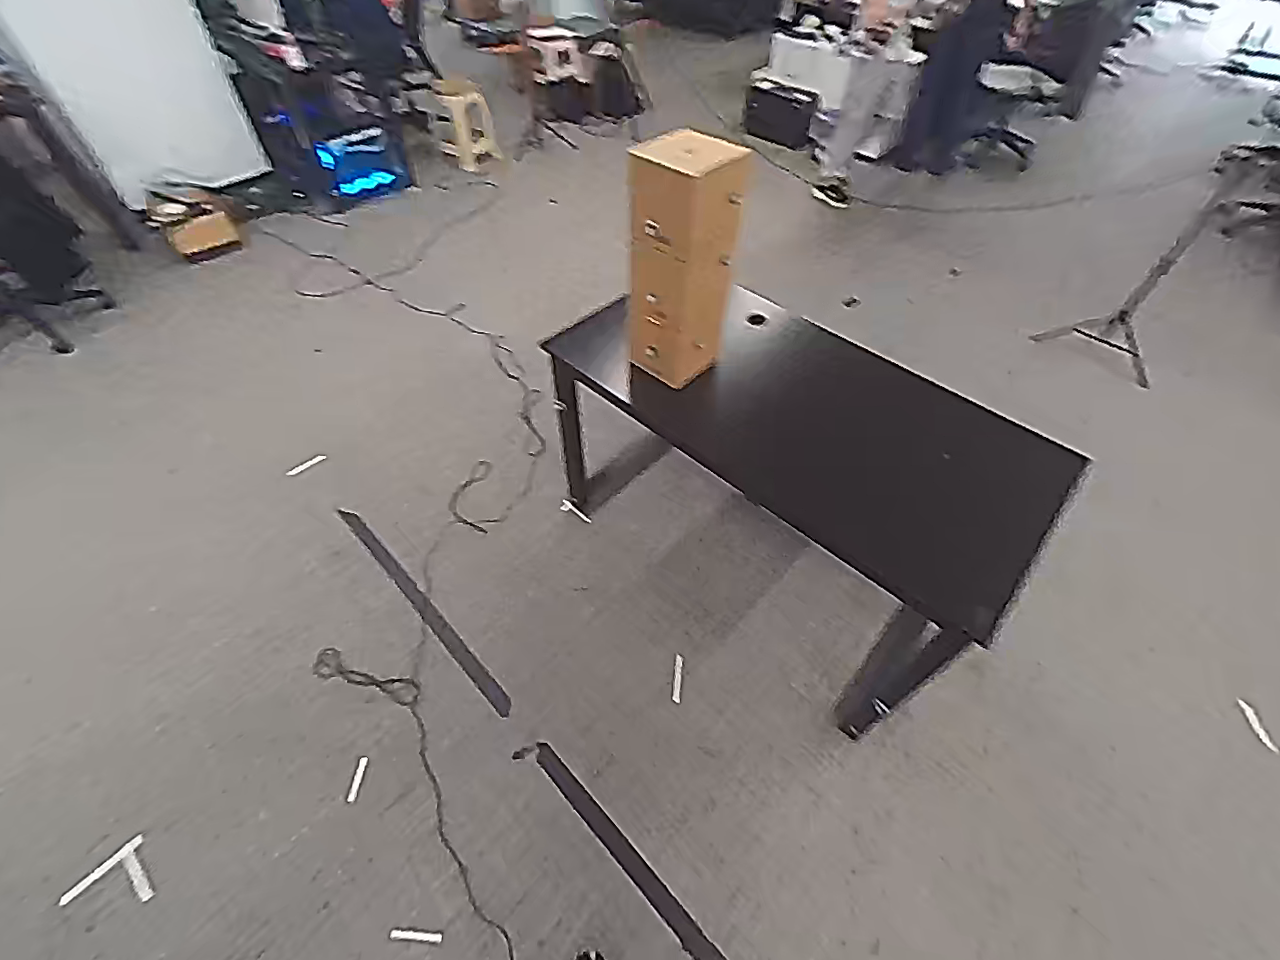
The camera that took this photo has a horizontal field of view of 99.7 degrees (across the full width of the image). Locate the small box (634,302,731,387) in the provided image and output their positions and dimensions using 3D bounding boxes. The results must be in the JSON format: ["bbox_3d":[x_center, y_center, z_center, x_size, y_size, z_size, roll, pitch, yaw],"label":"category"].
[{"bbox_3d":[0.103,-0.362,1.341,0.168,0.176,0.179,36,59,24],"label":"small box"}]

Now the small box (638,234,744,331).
[{"bbox_3d":[0.107,-0.467,1.214,0.168,0.176,0.179,36,59,26],"label":"small box"}]

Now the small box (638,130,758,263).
[{"bbox_3d":[0.109,-0.569,1.087,0.168,0.176,0.179,35,59,26],"label":"small box"}]
